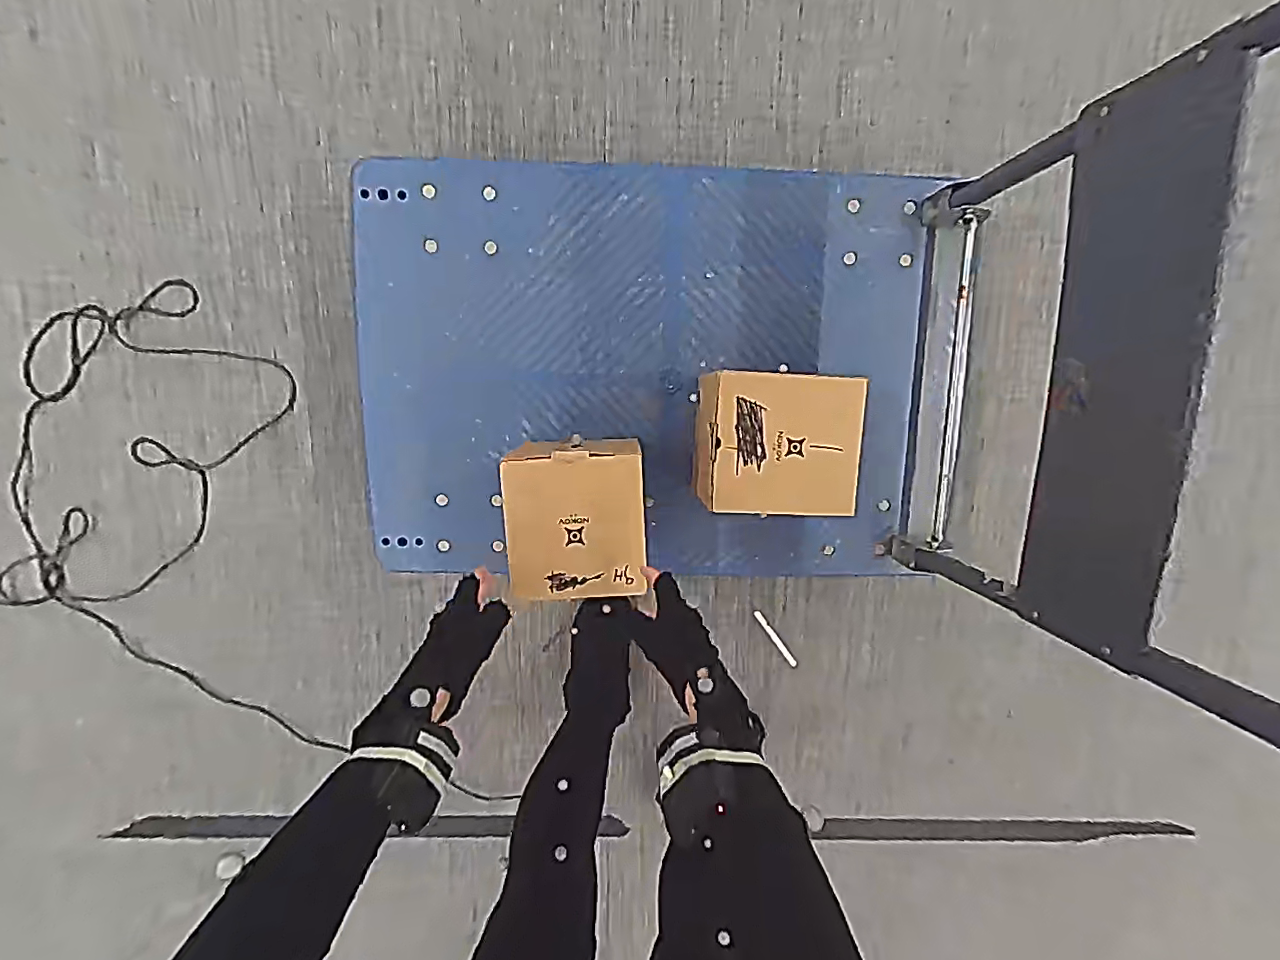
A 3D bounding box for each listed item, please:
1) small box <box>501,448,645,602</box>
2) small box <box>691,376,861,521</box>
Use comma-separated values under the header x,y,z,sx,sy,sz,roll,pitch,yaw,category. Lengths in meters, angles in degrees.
x,y,z,sx,sy,sz,roll,pitch,yaw,category
-0.082,0.049,0.722,0.168,0.176,0.179,-3,98,-1,small box
0.165,-0.046,0.717,0.179,0.176,0.168,2,98,-3,small box
